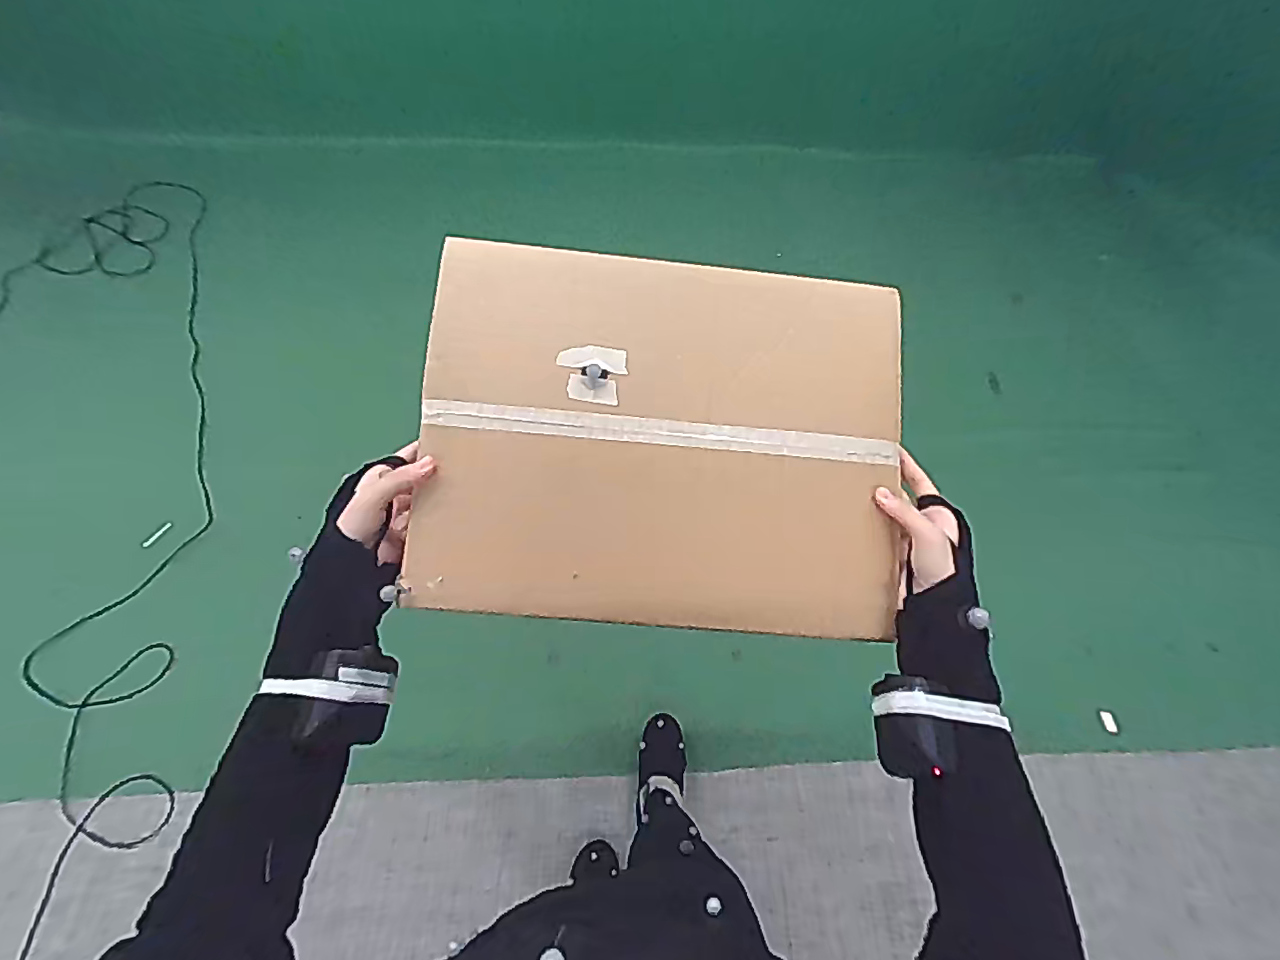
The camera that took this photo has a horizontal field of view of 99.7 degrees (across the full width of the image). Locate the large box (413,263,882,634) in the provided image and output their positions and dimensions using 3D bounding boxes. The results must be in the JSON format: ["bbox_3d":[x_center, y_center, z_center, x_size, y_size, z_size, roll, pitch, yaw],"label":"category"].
[{"bbox_3d":[0.012,-0.014,0.622,0.408,0.320,0.320,5,81,-2],"label":"large box"}]
